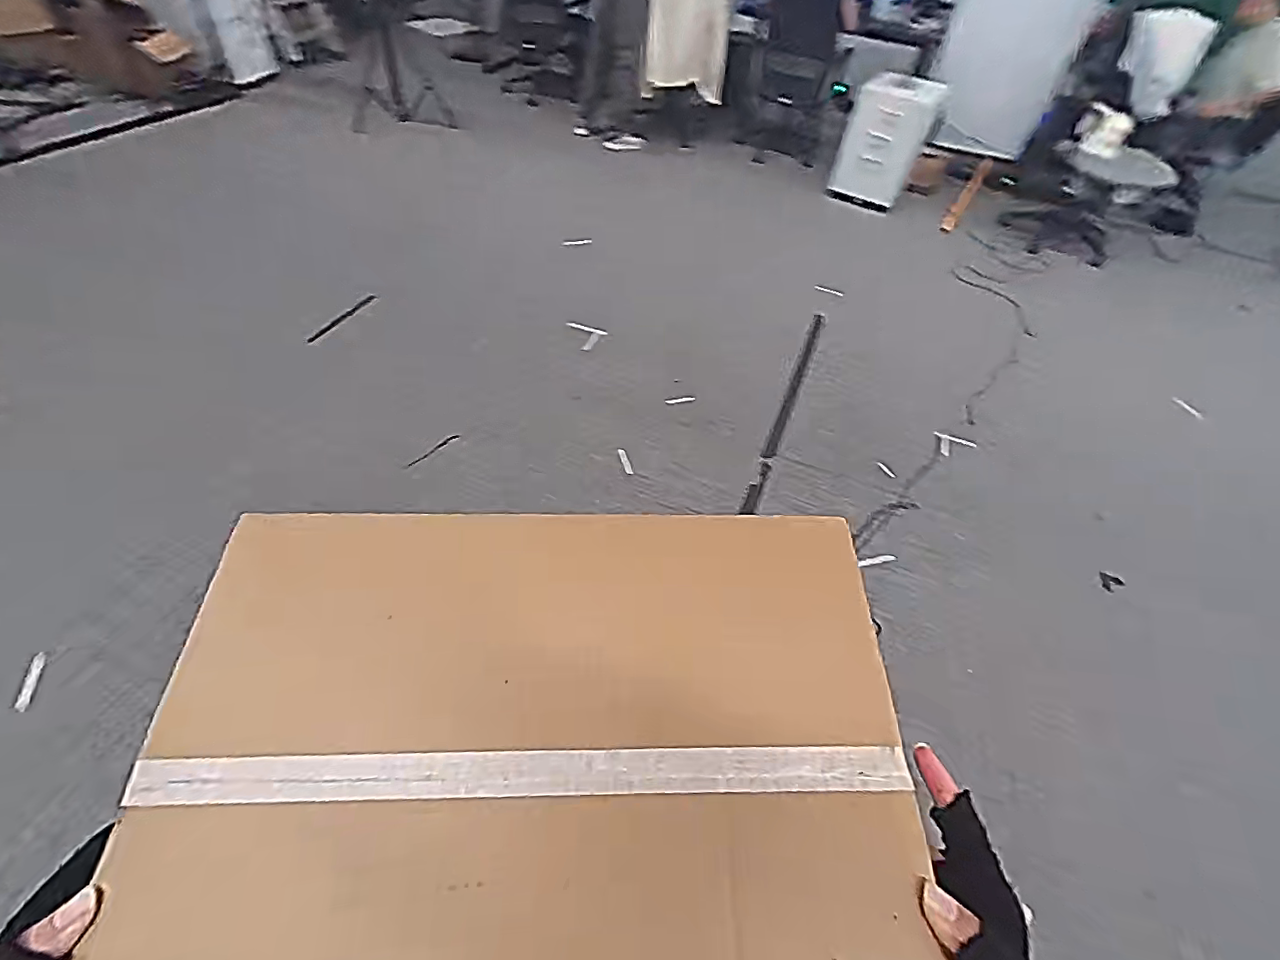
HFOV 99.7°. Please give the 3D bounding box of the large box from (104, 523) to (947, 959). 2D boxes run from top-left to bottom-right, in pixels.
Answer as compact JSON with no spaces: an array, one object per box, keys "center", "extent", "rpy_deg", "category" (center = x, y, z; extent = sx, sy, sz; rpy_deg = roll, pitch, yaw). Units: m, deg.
[{"center":[-0.055,0.242,0.421],"extent":[0.408,0.320,0.320],"rpy_deg":[1,59,-1],"category":"large box"}]
